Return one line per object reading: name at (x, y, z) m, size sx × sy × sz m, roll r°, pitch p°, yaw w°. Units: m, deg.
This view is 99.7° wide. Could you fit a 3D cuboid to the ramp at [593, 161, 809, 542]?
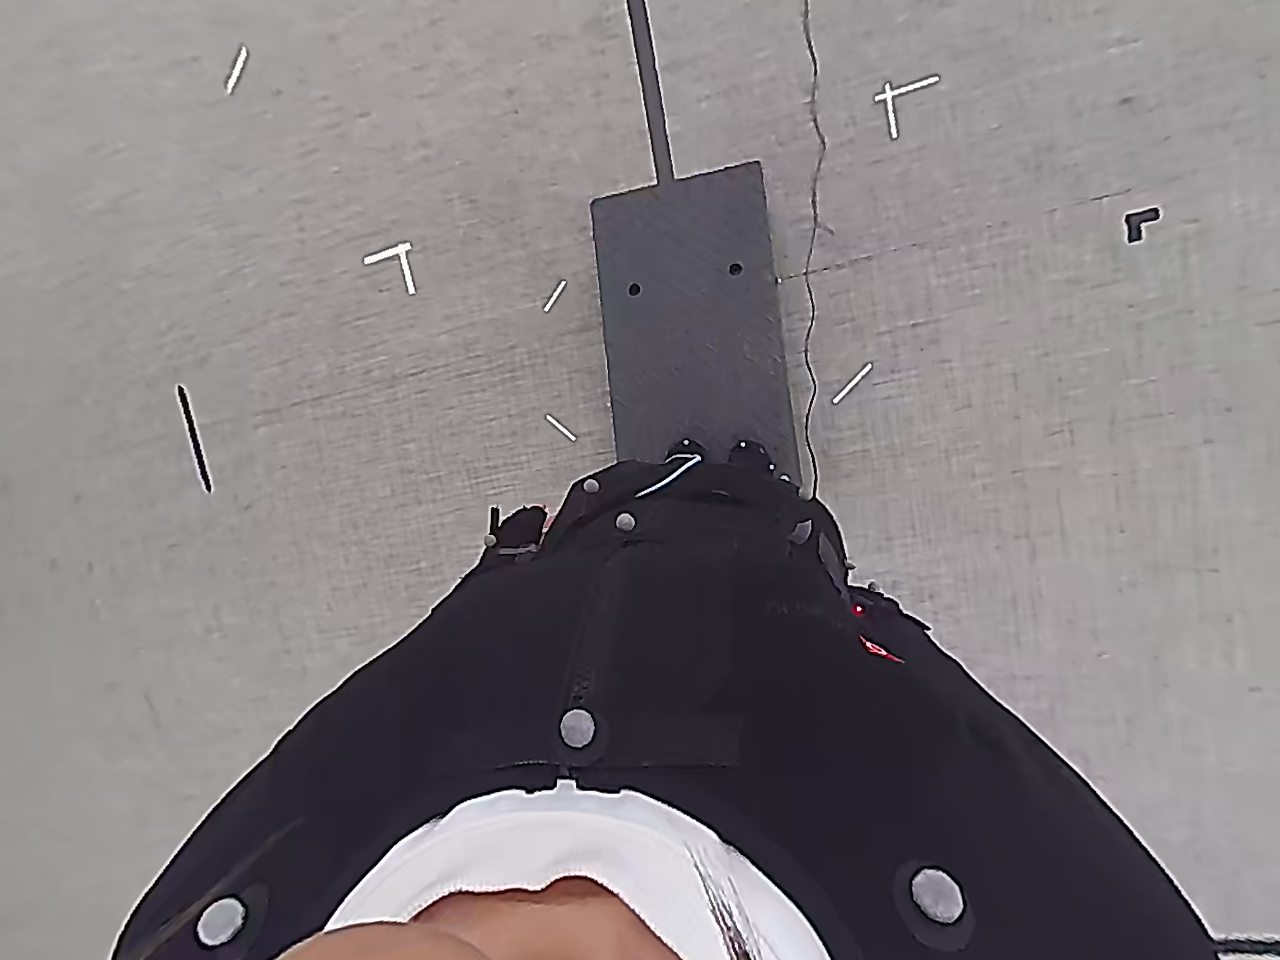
ramp at (0.147, -0.348, 1.486) m, size 0.509 × 0.206 × 0.991 m, roll -9°, pitch 95°, yaw 14°
